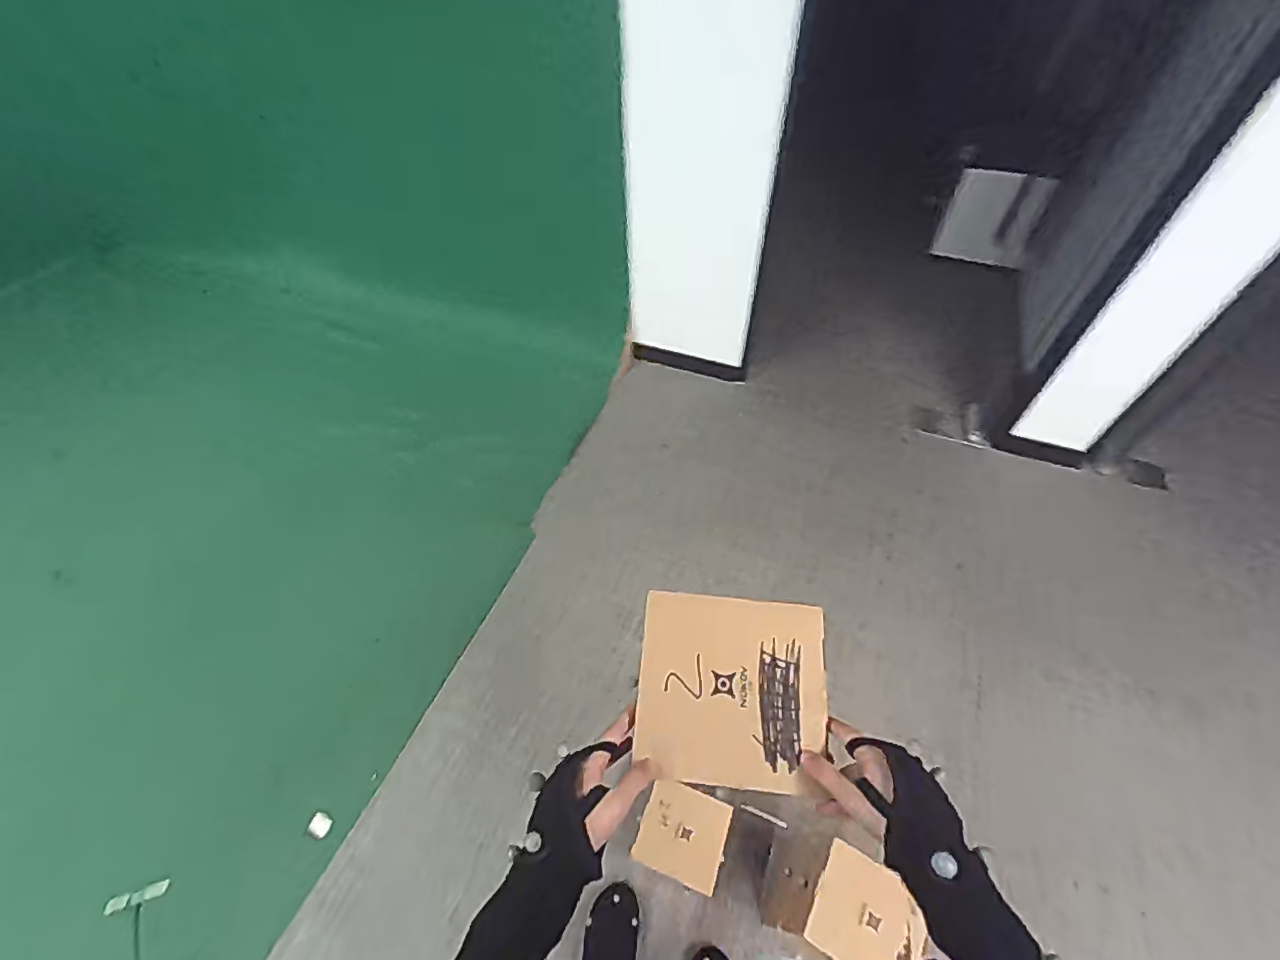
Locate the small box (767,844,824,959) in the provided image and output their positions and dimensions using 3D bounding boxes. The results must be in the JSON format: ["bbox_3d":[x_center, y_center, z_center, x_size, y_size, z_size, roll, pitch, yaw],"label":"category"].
[{"bbox_3d":[0.370,0.876,1.086,0.168,0.176,0.179,26,57,21],"label":"small box"}]

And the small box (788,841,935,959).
[{"bbox_3d":[0.379,0.781,0.951,0.179,0.176,0.168,25,56,21],"label":"small box"}]
